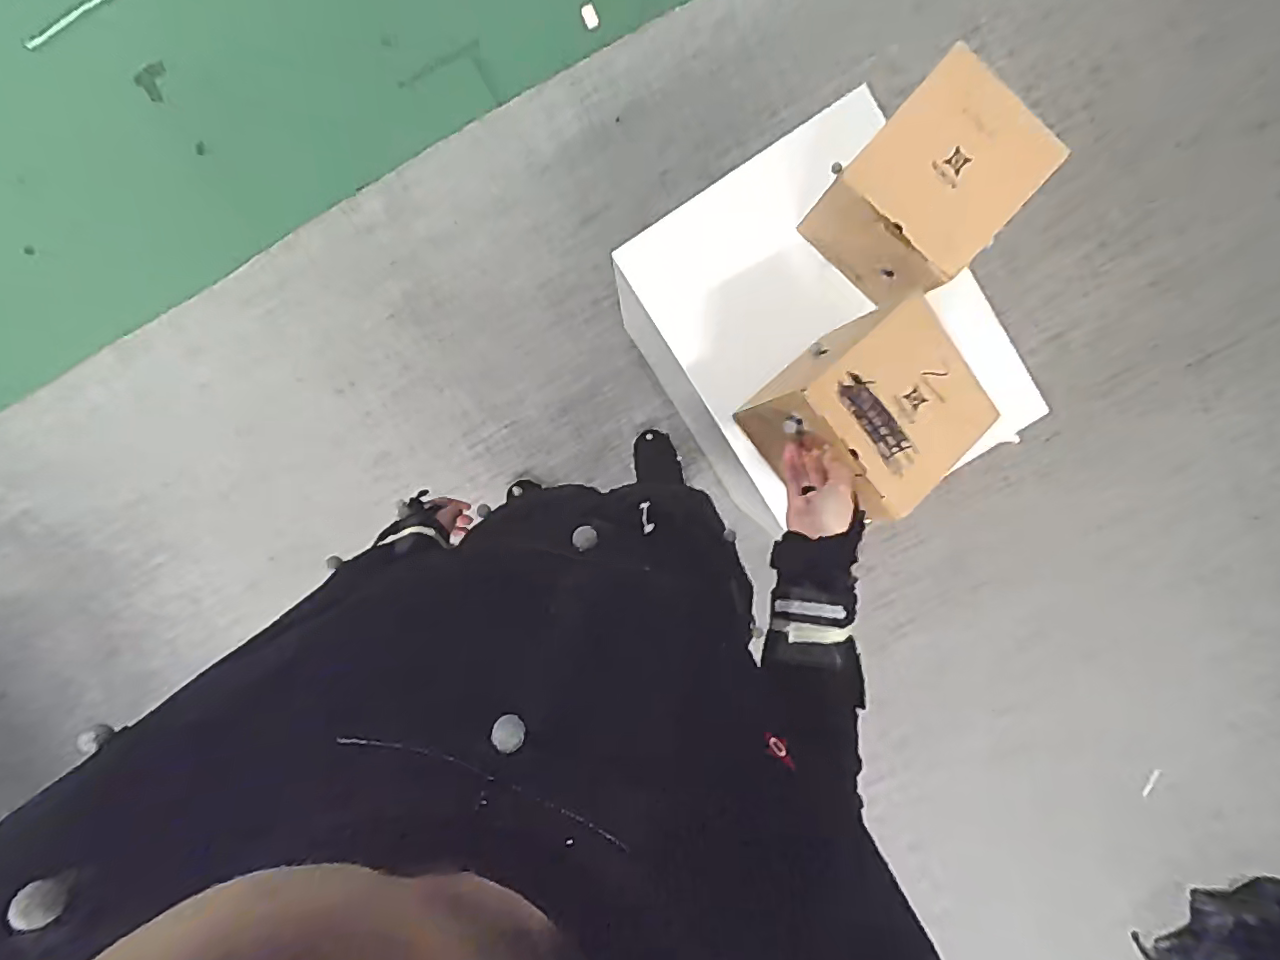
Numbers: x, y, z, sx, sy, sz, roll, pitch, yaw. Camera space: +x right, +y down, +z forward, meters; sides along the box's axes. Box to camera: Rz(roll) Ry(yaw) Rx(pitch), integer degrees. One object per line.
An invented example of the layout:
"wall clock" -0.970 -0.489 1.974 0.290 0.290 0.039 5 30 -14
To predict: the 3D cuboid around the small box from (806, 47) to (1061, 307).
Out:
"small box" 0.322 -0.332 0.640 0.168 0.176 0.179 41 94 -5
